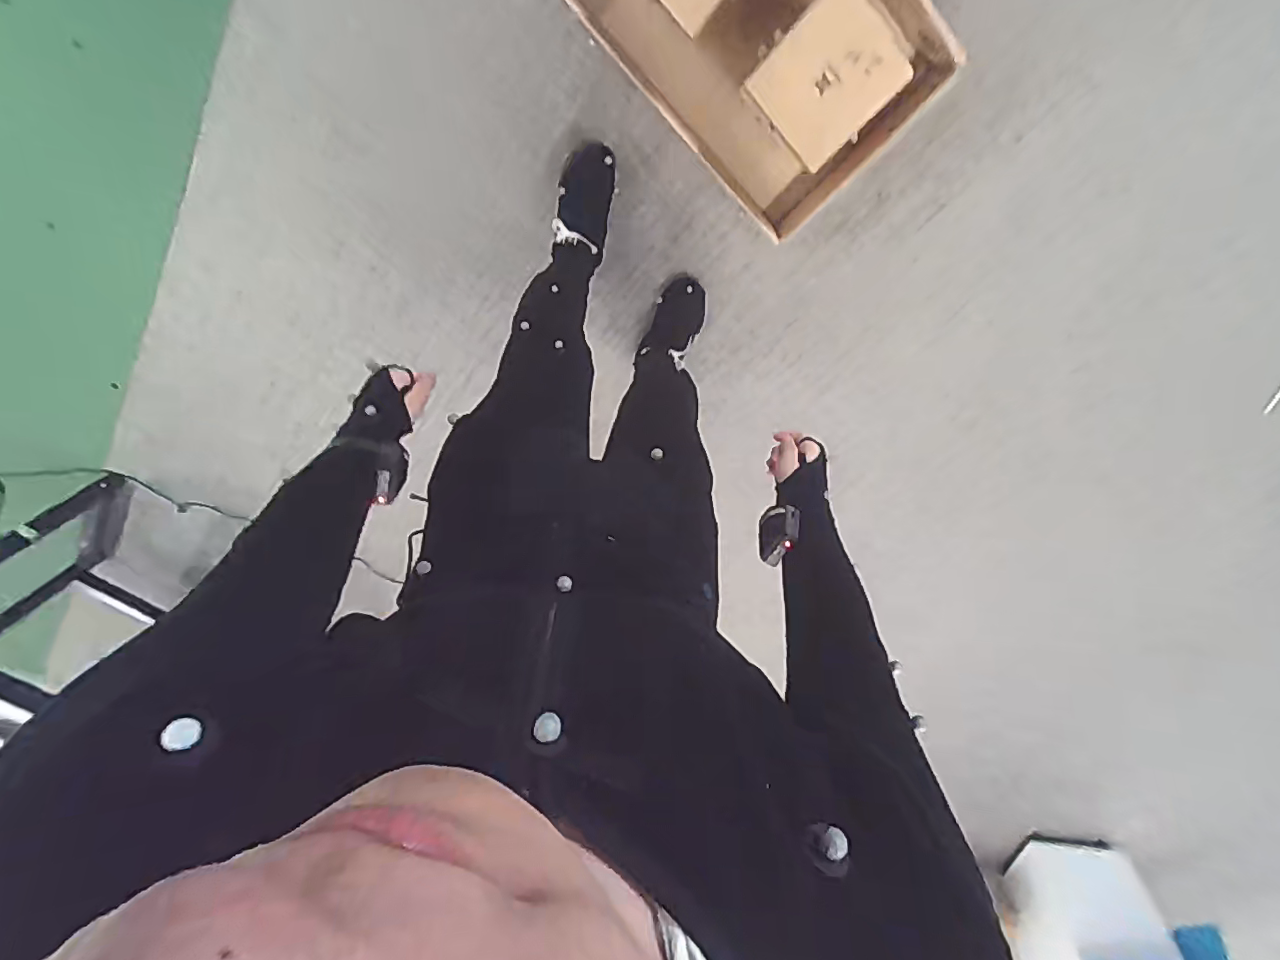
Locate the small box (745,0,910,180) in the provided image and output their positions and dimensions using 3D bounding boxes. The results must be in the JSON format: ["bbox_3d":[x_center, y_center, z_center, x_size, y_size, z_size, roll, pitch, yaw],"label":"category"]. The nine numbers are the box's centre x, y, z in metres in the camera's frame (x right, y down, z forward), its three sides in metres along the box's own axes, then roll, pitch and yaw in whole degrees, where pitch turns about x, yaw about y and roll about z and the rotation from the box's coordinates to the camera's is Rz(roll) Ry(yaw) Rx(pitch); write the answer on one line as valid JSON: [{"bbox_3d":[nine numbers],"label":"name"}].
[{"bbox_3d":[0.284,-0.611,0.852,0.168,0.176,0.179,42,120,-18],"label":"small box"}]
